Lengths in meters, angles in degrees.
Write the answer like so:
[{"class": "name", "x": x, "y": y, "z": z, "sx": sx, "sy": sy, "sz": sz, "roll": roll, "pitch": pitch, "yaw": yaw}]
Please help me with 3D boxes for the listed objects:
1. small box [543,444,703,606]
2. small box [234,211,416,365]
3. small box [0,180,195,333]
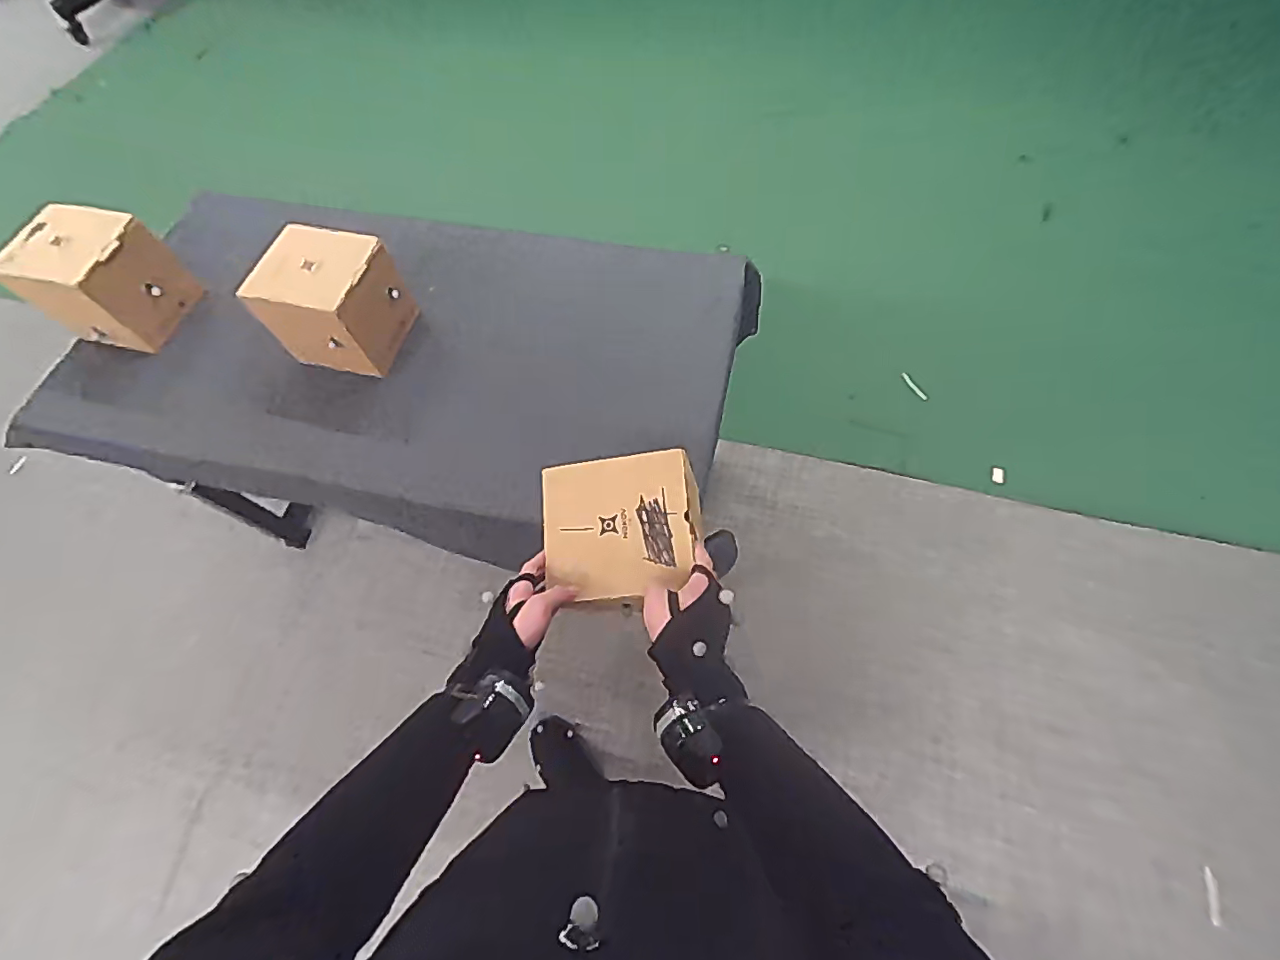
[{"class": "small box", "x": -0.013, "y": 0.066, "z": 0.683, "sx": 0.179, "sy": 0.176, "sz": 0.168, "roll": -6, "pitch": 71, "yaw": 9}, {"class": "small box", "x": -0.514, "y": -0.318, "z": 0.917, "sx": 0.179, "sy": 0.176, "sz": 0.168, "roll": 12, "pitch": 63, "yaw": 7}, {"class": "small box", "x": -0.948, "y": -0.382, "z": 0.946, "sx": 0.179, "sy": 0.176, "sz": 0.168, "roll": 13, "pitch": 64, "yaw": 5}]
